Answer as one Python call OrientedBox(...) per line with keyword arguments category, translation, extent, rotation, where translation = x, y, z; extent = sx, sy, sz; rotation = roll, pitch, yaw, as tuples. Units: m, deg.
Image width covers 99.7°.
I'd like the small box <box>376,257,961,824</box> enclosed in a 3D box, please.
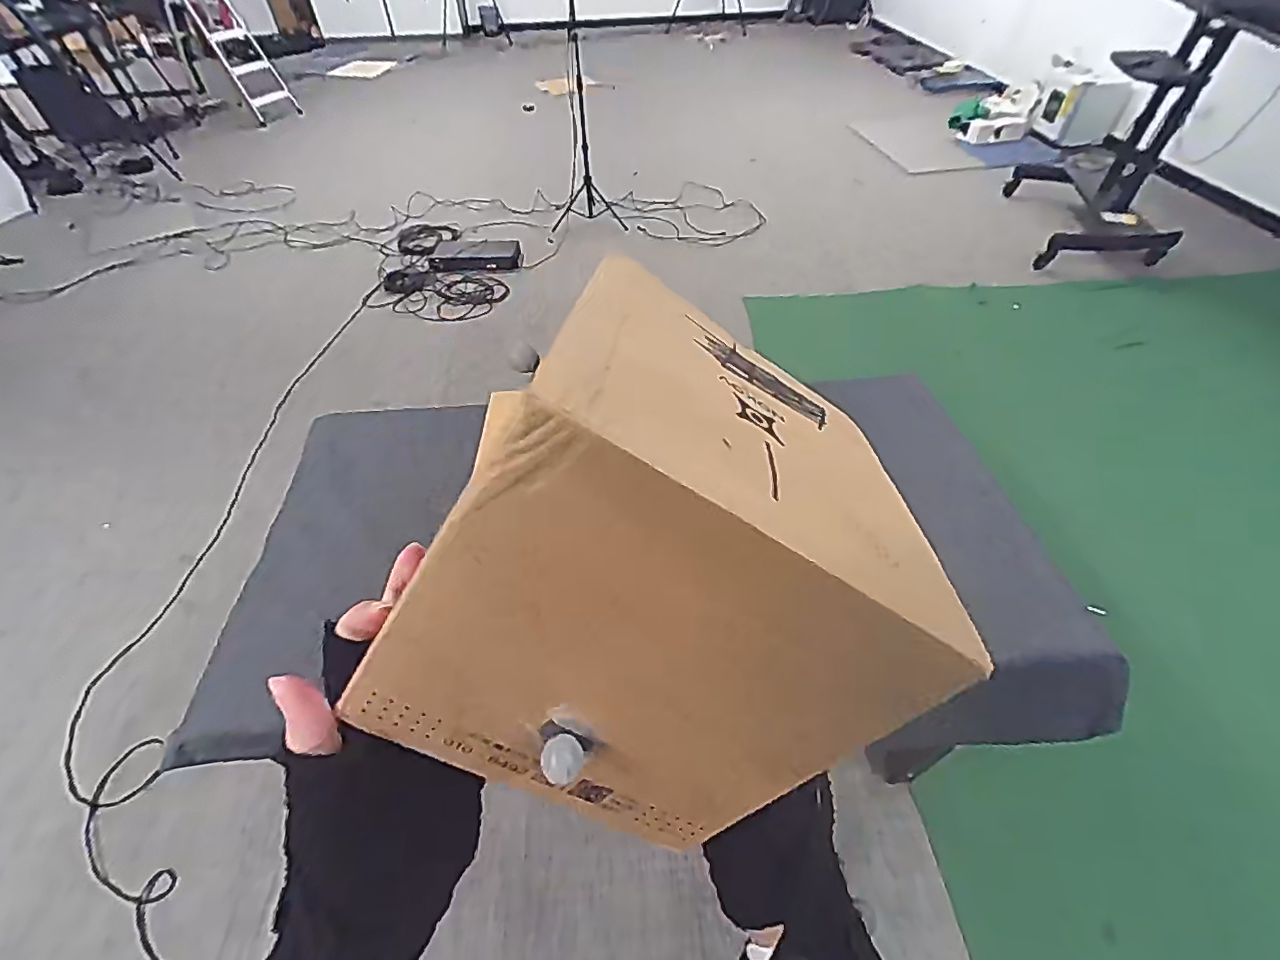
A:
OrientedBox(category="small box", translation=(0.001, 0.027, 0.268), extent=(0.168, 0.176, 0.179), rotation=(31, 31, -15))
